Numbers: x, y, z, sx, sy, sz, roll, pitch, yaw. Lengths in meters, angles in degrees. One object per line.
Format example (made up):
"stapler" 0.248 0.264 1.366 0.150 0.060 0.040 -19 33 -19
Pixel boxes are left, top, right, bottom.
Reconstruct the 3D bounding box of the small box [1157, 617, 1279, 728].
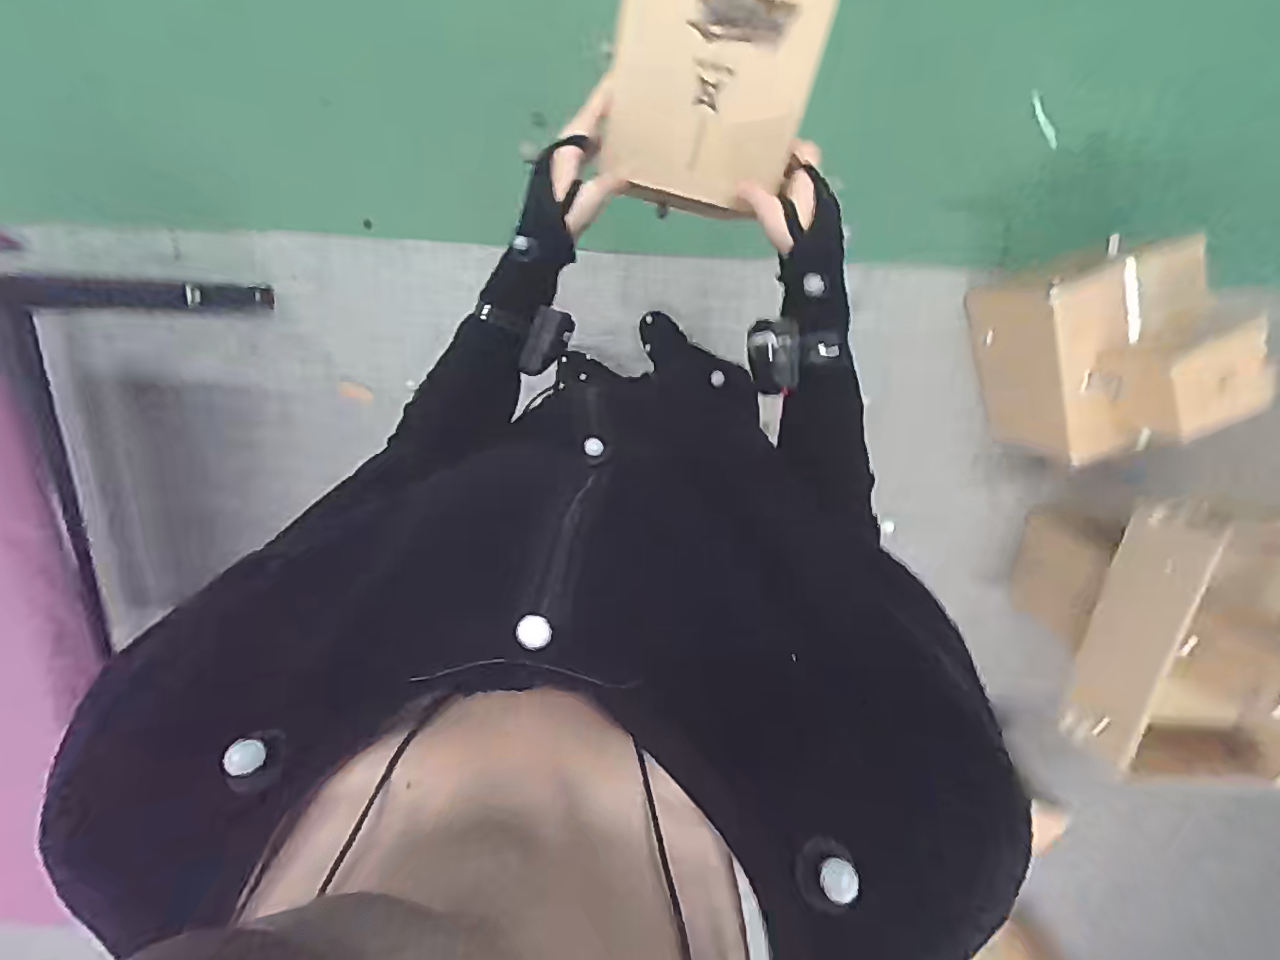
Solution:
"small box" 1.293 0.411 1.163 0.179 0.176 0.168 3 107 -1

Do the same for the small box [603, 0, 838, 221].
"small box" 0.058 -0.366 0.526 0.168 0.176 0.179 10 113 -9

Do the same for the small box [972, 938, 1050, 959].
"small box" 0.989 1.330 1.388 0.179 0.176 0.168 22 106 -7
